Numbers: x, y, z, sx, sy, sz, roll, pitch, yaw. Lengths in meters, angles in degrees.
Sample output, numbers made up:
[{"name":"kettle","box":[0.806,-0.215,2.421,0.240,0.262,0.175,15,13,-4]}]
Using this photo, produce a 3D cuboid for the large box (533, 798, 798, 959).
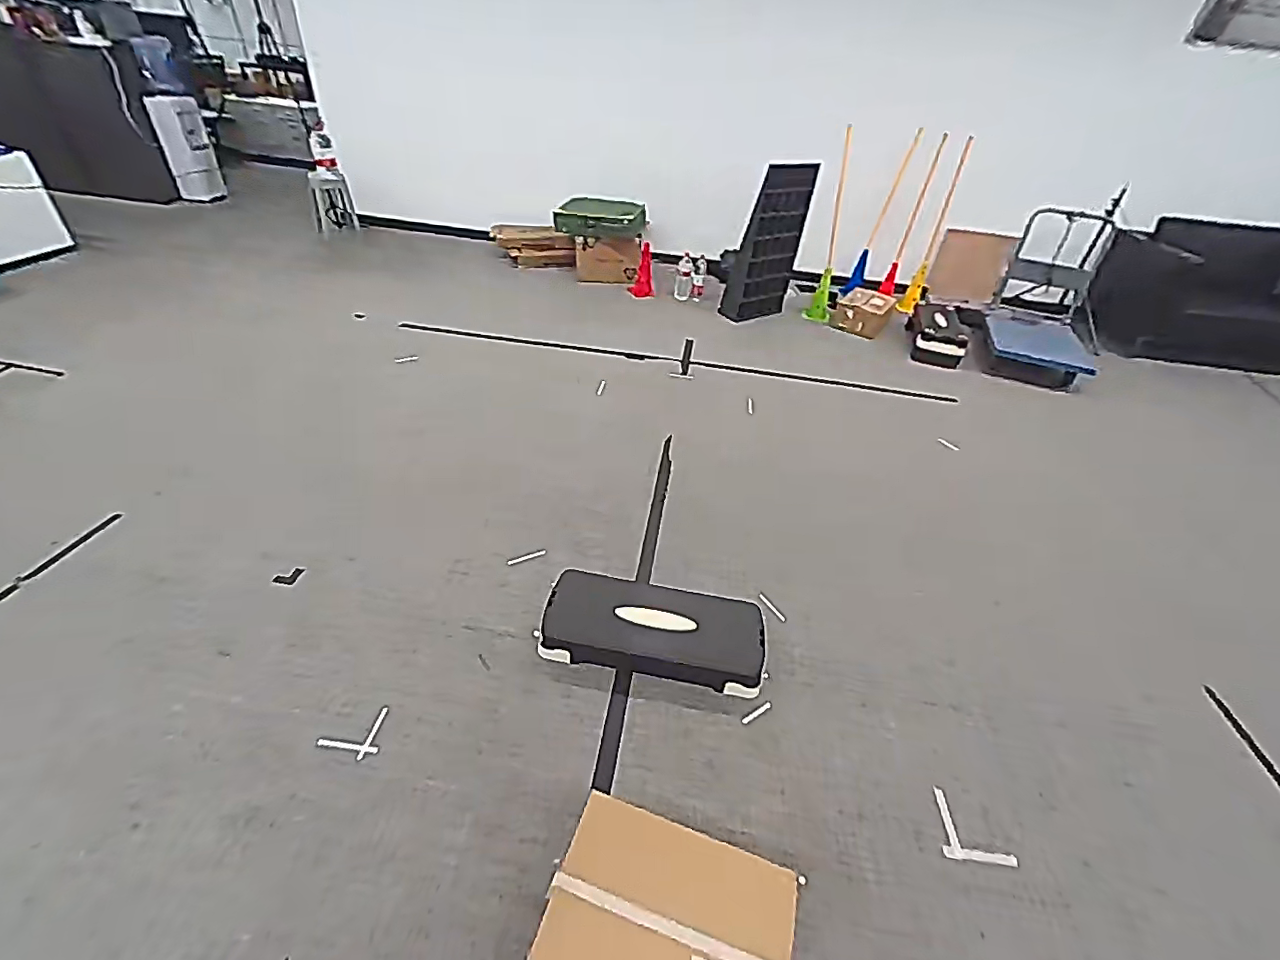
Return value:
[{"name":"large box","box":[0.034,0.861,0.976,0.408,0.320,0.320,16,39,11]}]
